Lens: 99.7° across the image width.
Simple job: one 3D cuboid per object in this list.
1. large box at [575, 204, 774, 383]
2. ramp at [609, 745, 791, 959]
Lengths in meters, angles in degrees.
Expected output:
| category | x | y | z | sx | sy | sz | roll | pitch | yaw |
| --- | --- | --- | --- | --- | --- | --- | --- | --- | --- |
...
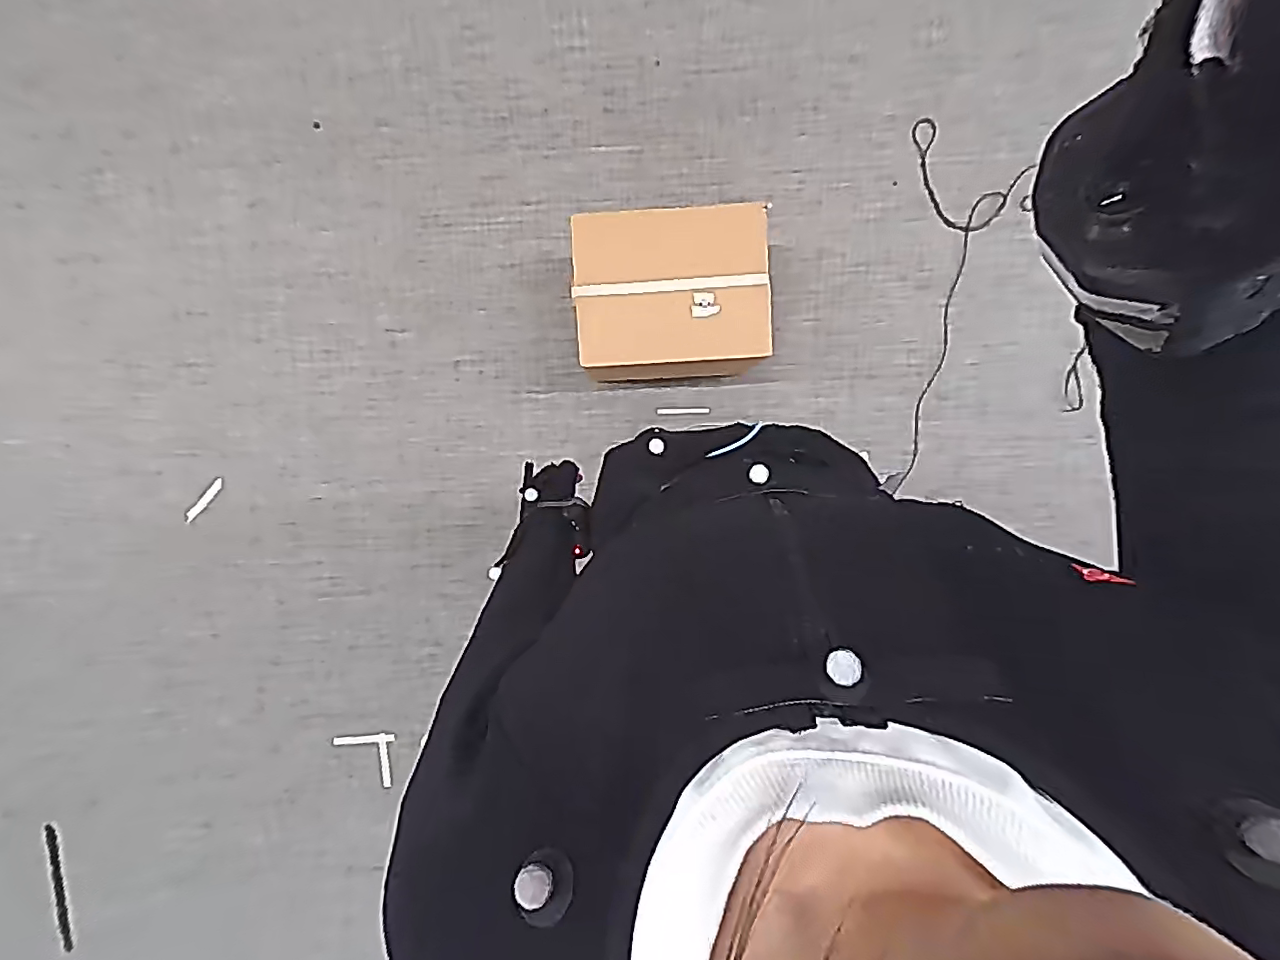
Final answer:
| category | x | y | z | sx | sy | sz | roll | pitch | yaw |
| --- | --- | --- | --- | --- | --- | --- | --- | --- | --- |
| large box | 0.072 | -0.413 | 1.274 | 0.408 | 0.320 | 0.320 | -3 | 95 | 1 |
| ramp | 0.158 | 1.240 | 1.456 | 0.509 | 0.206 | 0.991 | -1 | 94 | 3 |
